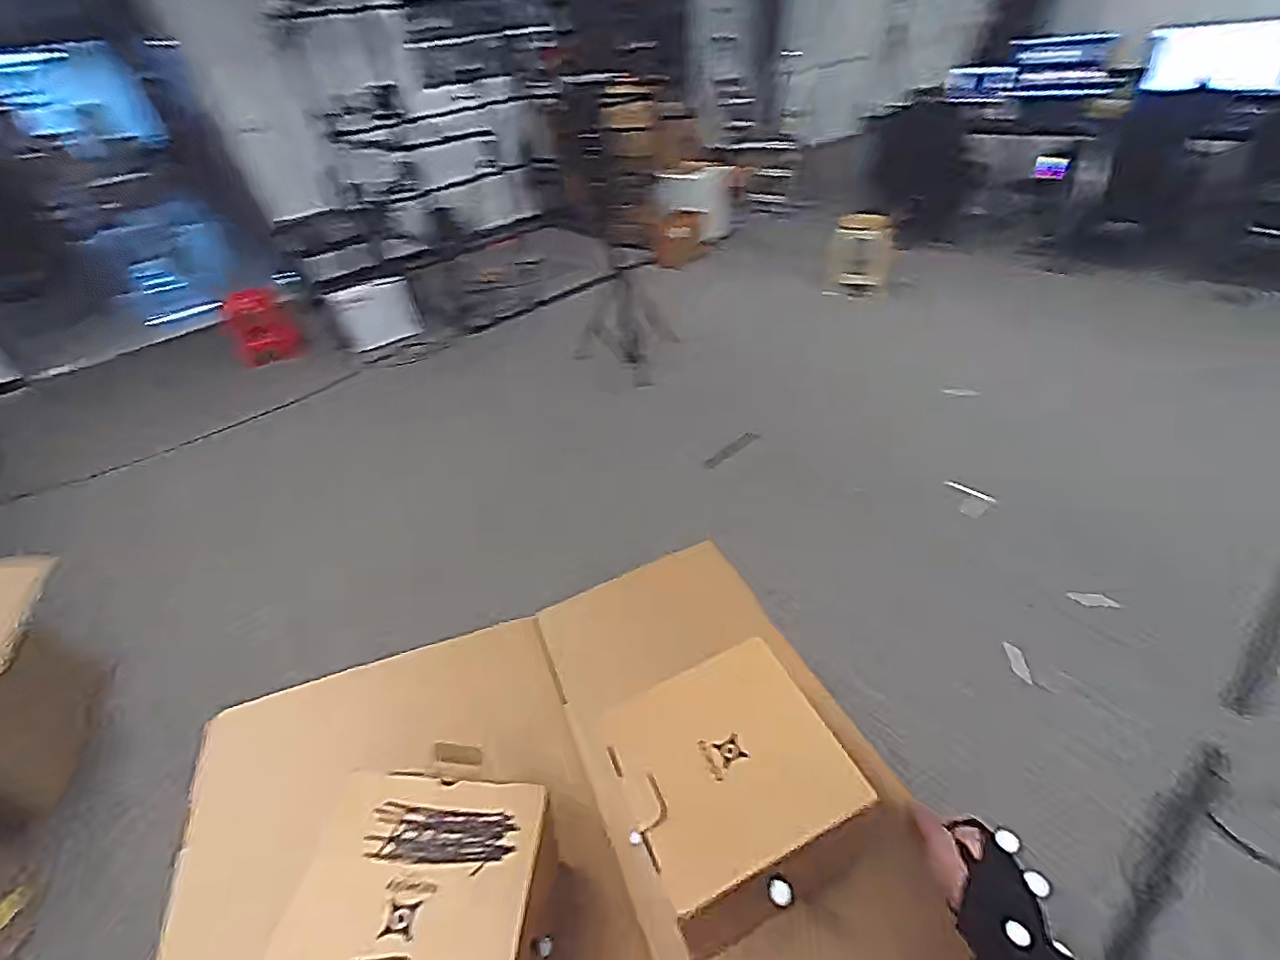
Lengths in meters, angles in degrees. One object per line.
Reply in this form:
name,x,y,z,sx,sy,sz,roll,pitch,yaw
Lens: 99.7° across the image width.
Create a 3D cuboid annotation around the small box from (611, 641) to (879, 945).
small box,0.091,0.294,0.516,0.179,0.176,0.168,-22,41,-12
